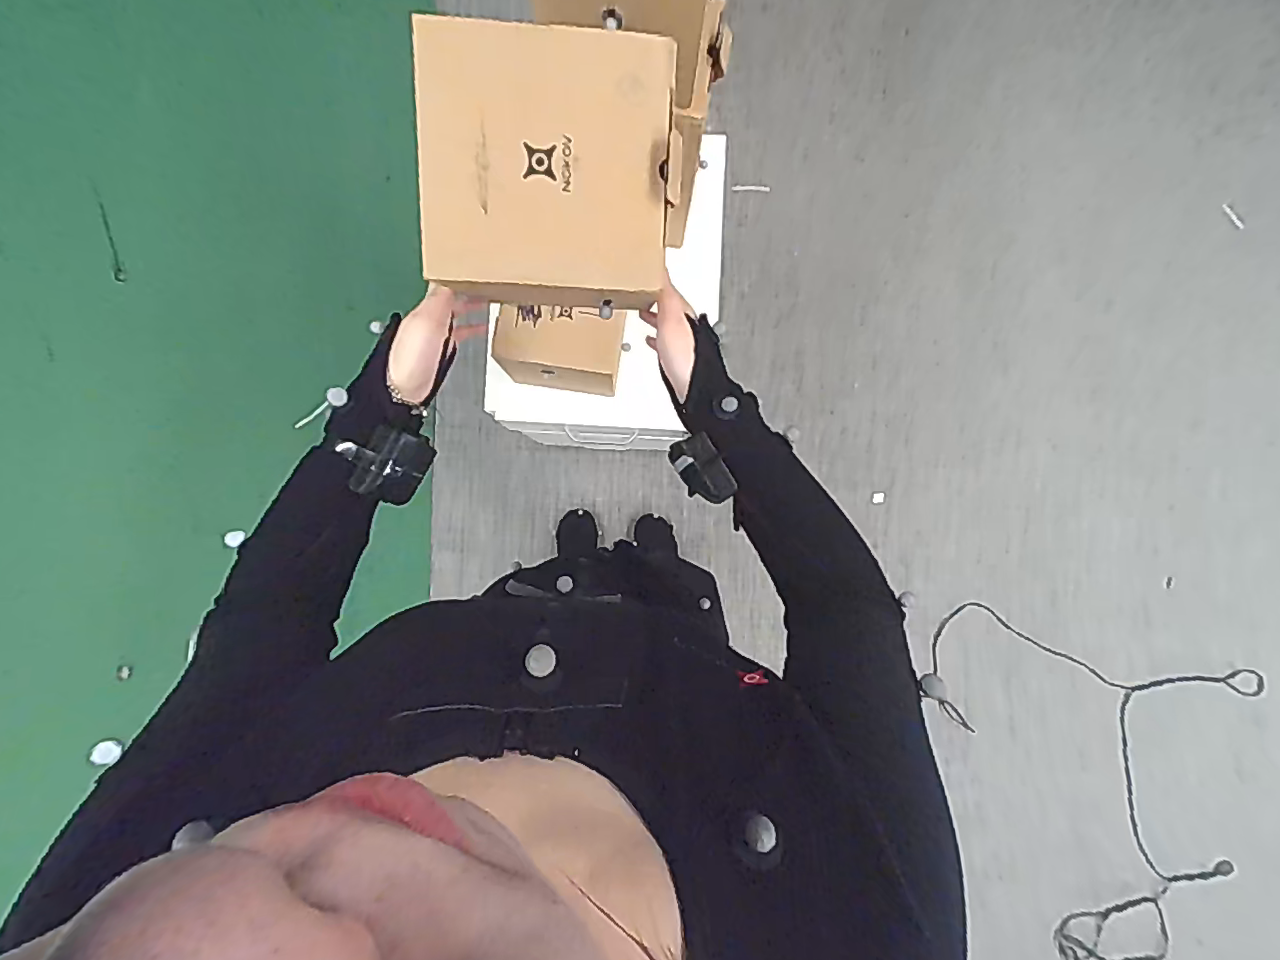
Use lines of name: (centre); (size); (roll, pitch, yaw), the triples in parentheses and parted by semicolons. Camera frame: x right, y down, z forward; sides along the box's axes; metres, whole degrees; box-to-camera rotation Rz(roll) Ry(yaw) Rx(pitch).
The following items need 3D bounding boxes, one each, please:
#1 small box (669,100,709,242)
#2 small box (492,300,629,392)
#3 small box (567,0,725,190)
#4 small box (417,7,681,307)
small box: (0.003, -0.502, 0.856); (0.179, 0.176, 0.168); (10, 89, 0)
small box: (-0.114, -0.243, 0.845); (0.179, 0.176, 0.168); (9, 87, -2)
small box: (0.001, -0.503, 0.693); (0.179, 0.176, 0.168); (9, 89, -1)
small box: (-0.067, -0.240, 0.451); (0.179, 0.176, 0.168); (2, 102, -2)
